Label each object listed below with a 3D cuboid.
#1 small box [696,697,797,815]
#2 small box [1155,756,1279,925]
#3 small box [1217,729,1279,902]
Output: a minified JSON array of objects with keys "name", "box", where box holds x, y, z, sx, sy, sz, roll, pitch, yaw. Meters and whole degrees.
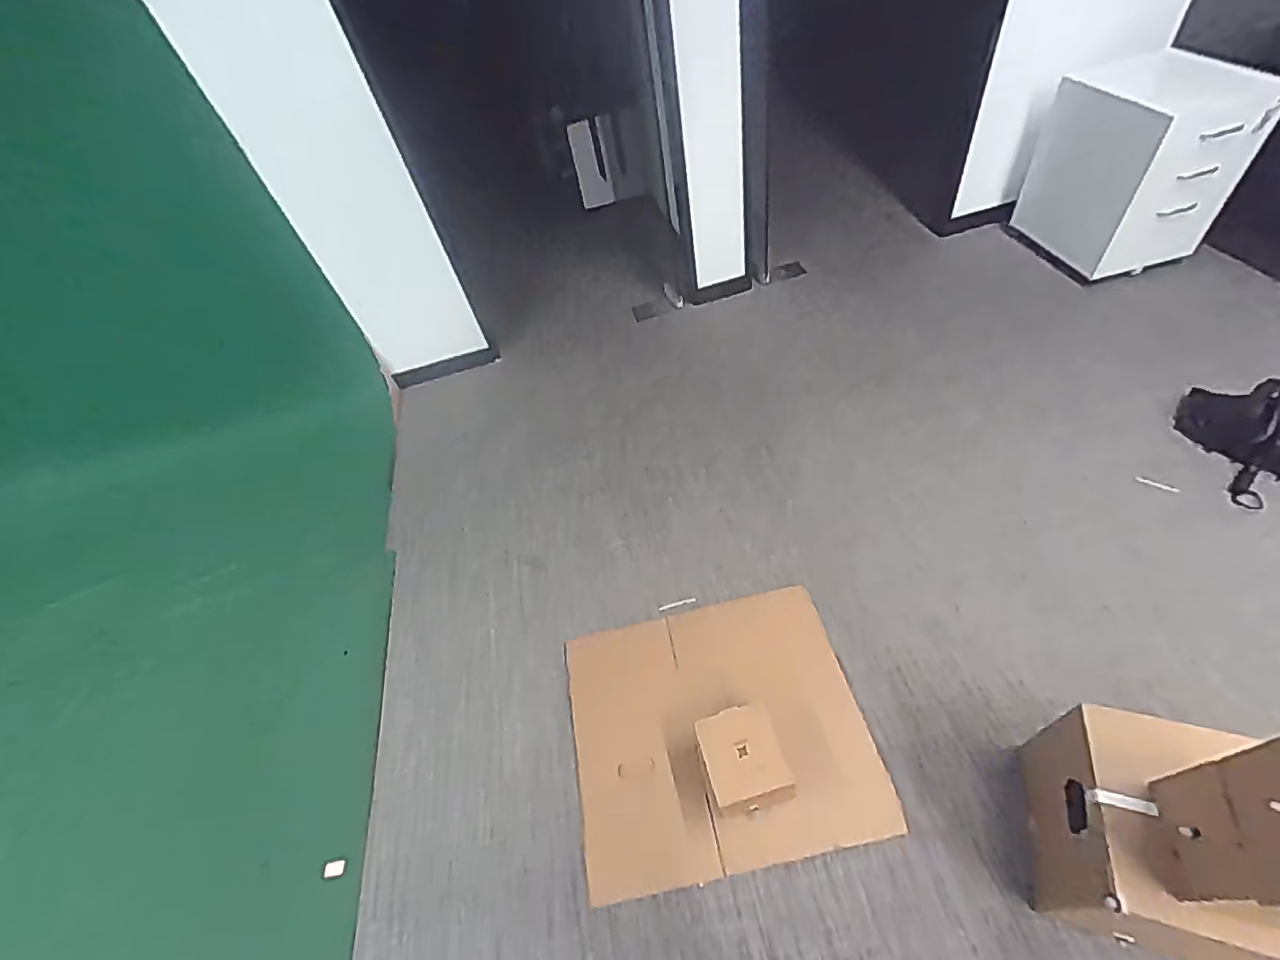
[{"name":"small box","box":[0.236,0.613,1.198,0.168,0.176,0.179,-20,50,1]},{"name":"small box","box":[0.877,0.510,0.755,0.179,0.176,0.168,4,51,15]},{"name":"small box","box":[0.840,0.412,0.624,0.168,0.176,0.179,9,53,19]}]
